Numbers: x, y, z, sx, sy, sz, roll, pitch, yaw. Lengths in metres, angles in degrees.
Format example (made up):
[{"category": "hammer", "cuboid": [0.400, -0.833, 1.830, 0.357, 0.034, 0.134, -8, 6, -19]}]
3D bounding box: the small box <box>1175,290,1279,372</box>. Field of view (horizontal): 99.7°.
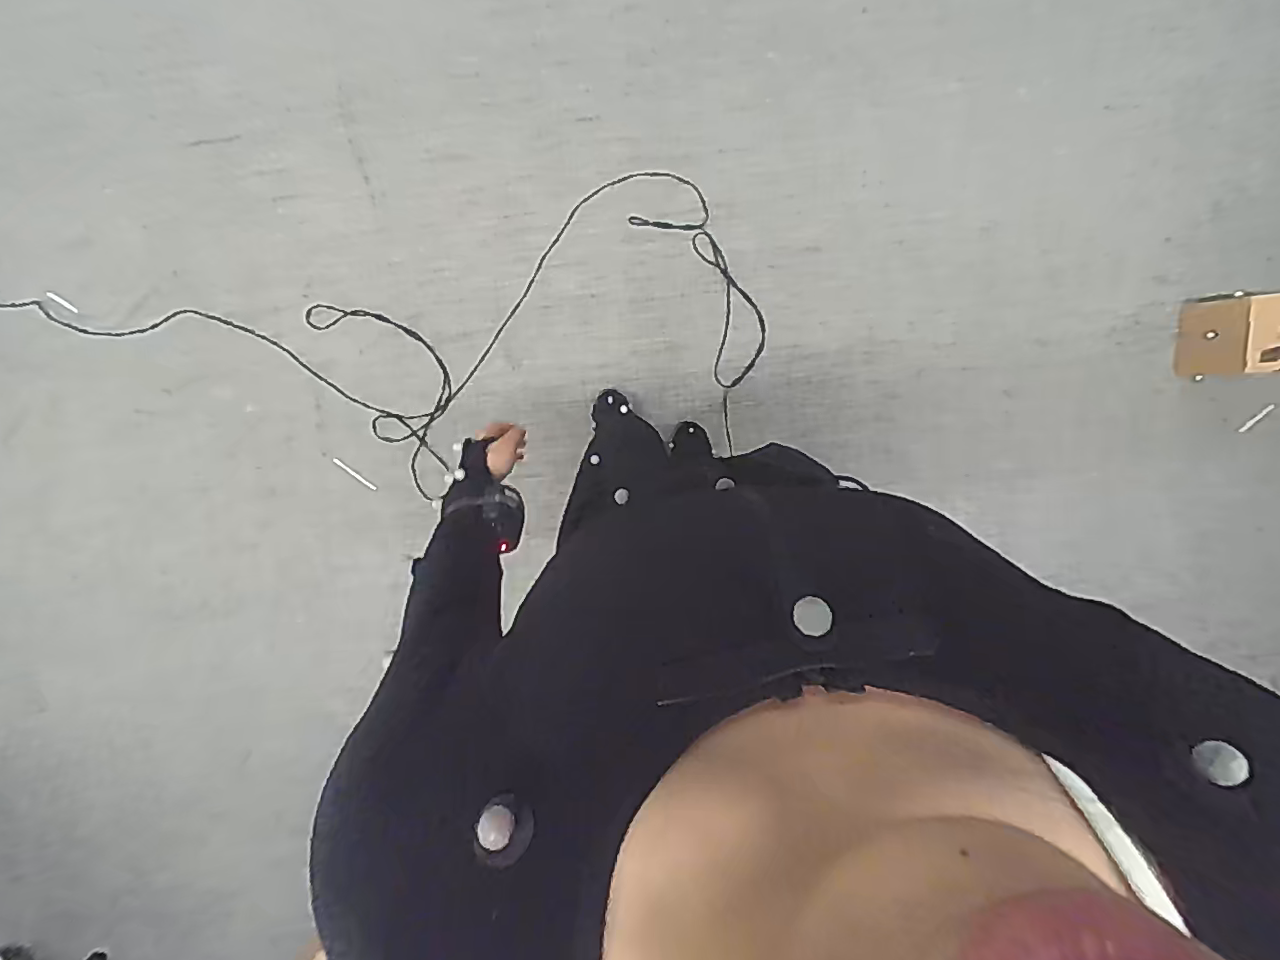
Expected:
[{"category": "small box", "cuboid": [1.444, -0.355, 1.294, 0.168, 0.176, 0.179, -5, 100, 3]}]
